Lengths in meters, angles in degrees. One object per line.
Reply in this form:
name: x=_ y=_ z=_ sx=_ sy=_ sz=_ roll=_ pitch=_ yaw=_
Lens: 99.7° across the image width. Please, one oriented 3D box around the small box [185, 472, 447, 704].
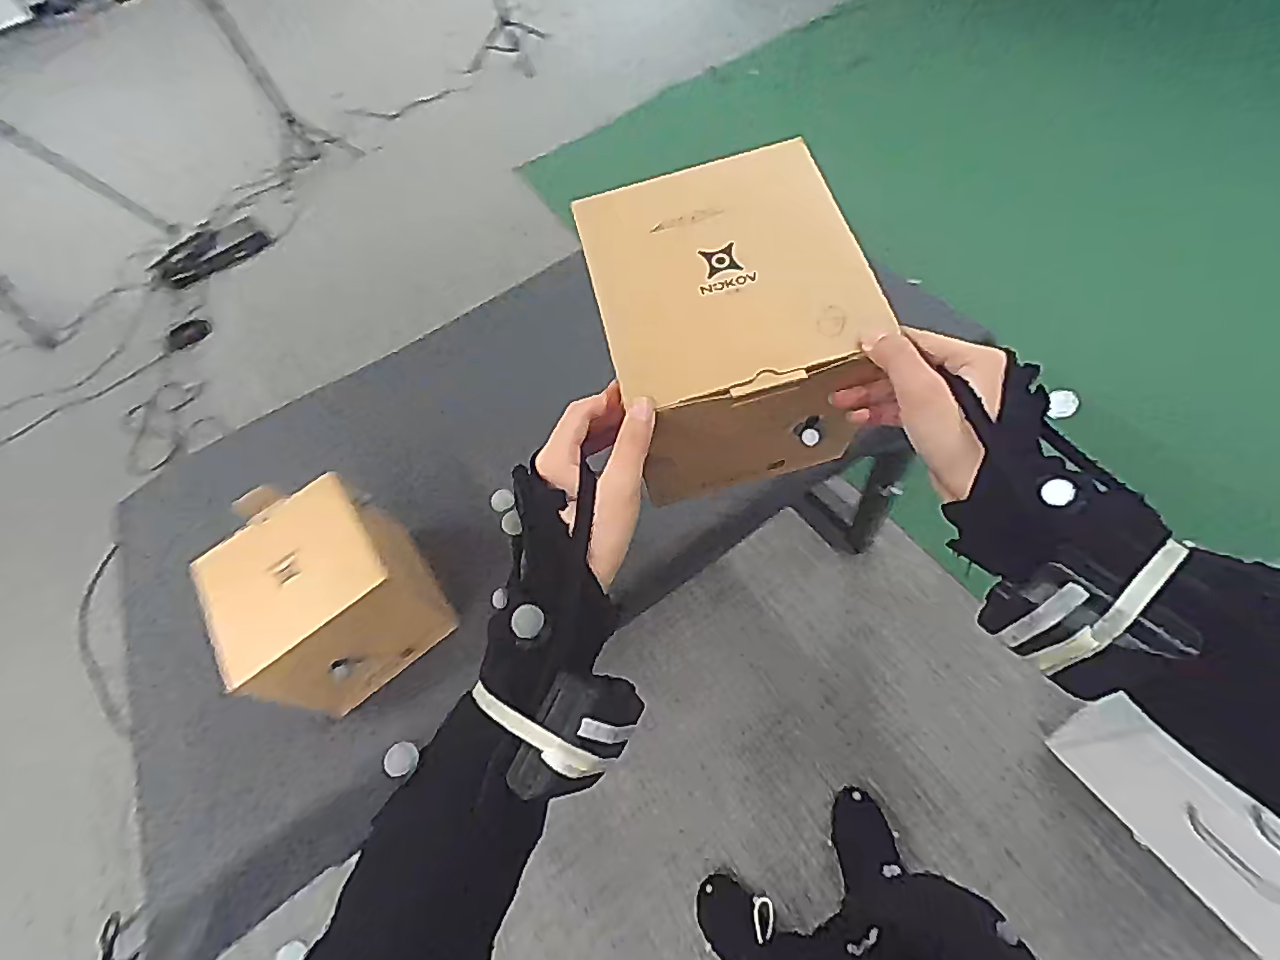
small box: x=-0.352 y=0.130 z=0.613 sx=0.168 sy=0.176 sz=0.179 roll=-38 pitch=59 yaw=-13
